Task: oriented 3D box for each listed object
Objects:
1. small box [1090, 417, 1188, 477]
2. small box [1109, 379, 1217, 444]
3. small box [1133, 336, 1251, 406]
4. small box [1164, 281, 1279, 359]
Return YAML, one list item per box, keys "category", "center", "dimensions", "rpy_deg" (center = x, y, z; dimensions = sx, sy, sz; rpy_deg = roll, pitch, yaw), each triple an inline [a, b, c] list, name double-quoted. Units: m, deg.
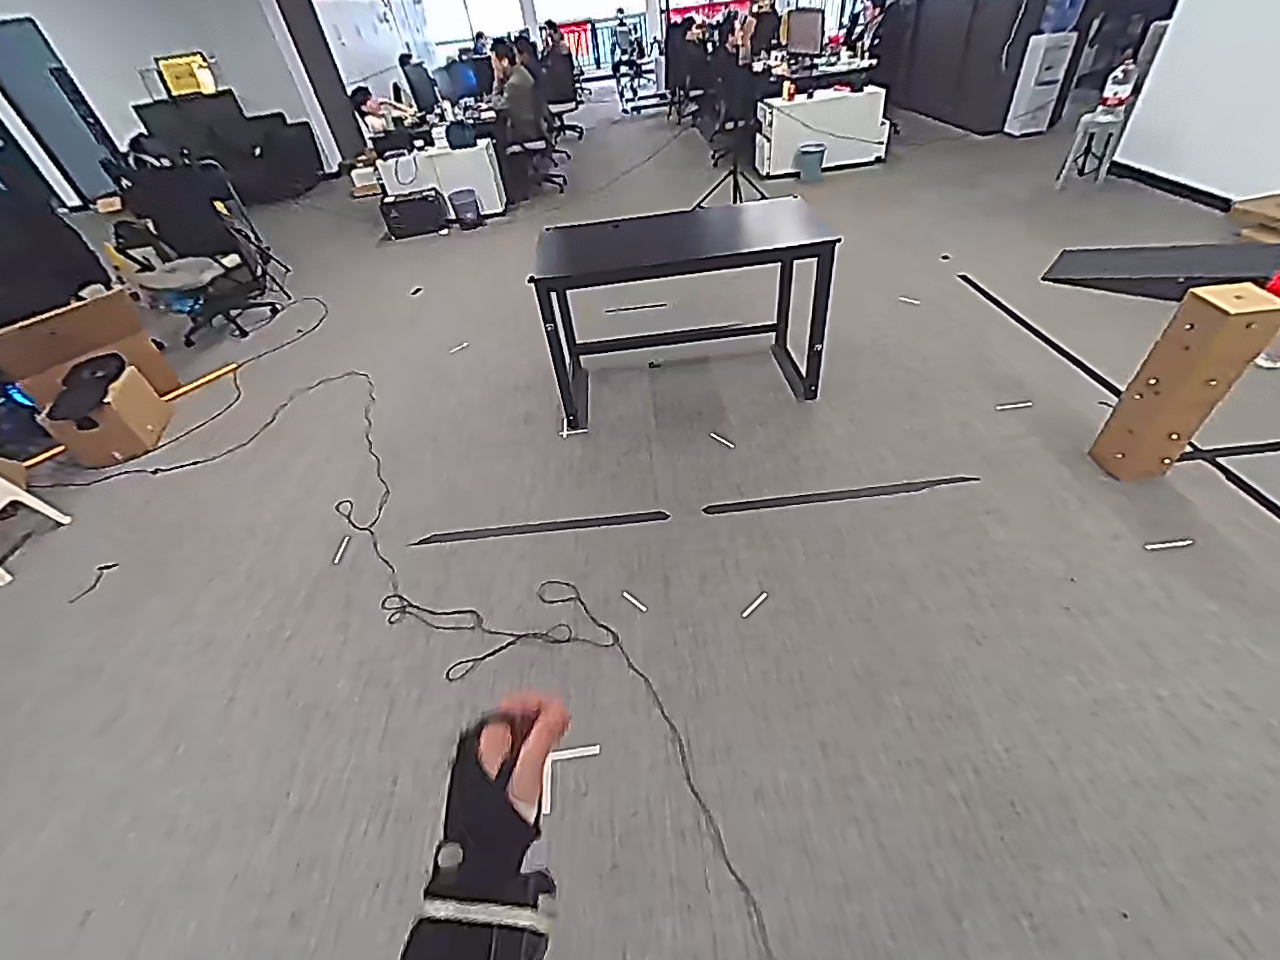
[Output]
- category: "small box"
  center: [1.809, -0.125, 1.972]
  dimensions: [0.168, 0.176, 0.179]
  rpy_deg: [-7, 41, 1]
- category: "small box"
  center: [1.788, -0.244, 1.861]
  dimensions: [0.179, 0.176, 0.168]
  rpy_deg: [-8, 42, 0]
- category: "small box"
  center: [1.769, -0.361, 1.747]
  dimensions: [0.179, 0.176, 0.168]
  rpy_deg: [-9, 42, 1]
- category: "small box"
  center: [1.752, -0.479, 1.633]
  dimensions: [0.179, 0.176, 0.168]
  rpy_deg: [-5, 43, 3]
